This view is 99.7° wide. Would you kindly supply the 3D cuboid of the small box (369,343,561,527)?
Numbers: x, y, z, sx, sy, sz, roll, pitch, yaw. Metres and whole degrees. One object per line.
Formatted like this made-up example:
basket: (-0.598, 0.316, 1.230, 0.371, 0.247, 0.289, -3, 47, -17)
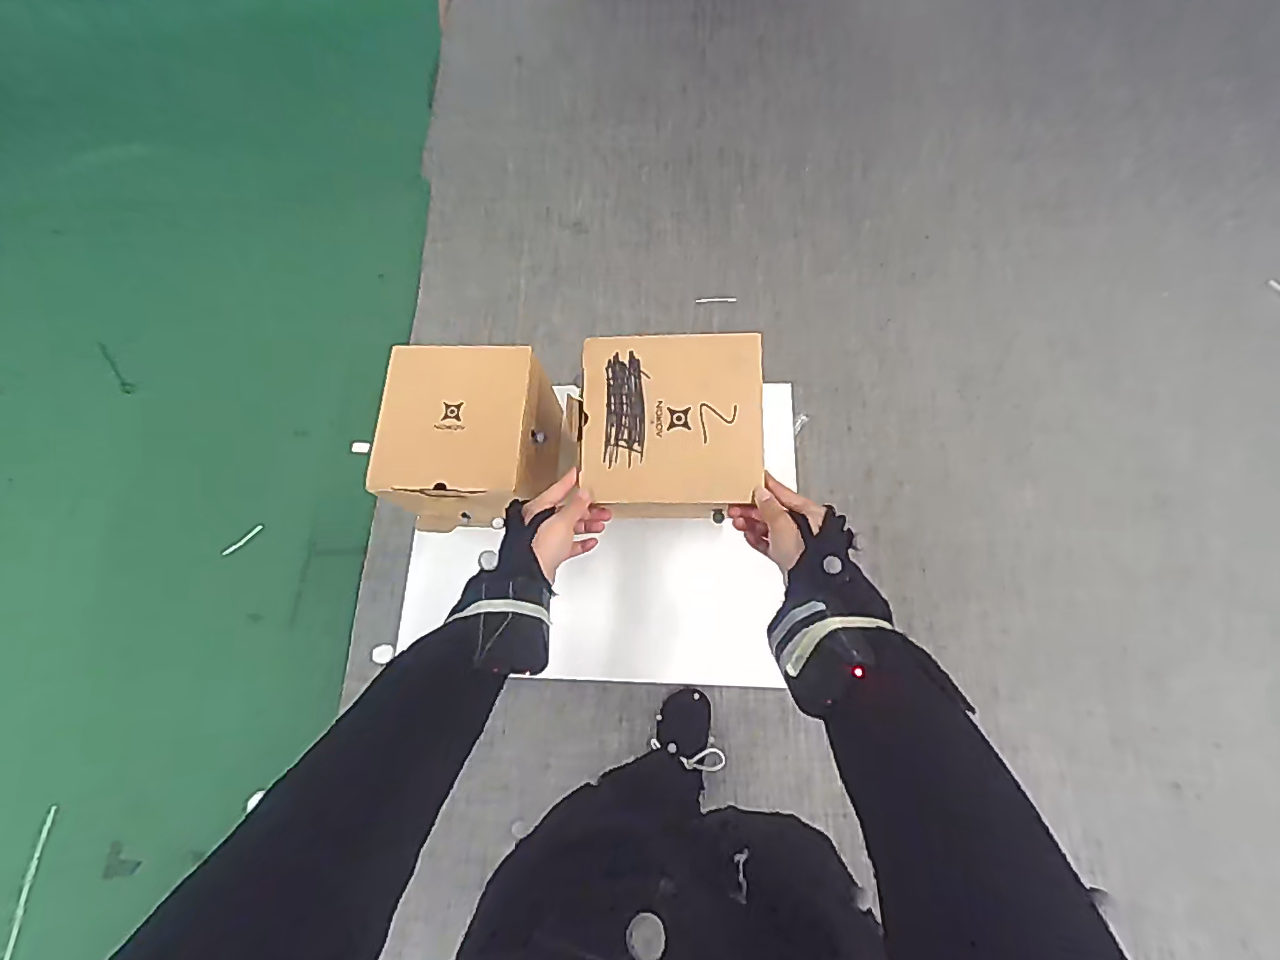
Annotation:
small box: (-0.196, -0.048, 0.665, 0.168, 0.176, 0.179, 1, 73, 4)
